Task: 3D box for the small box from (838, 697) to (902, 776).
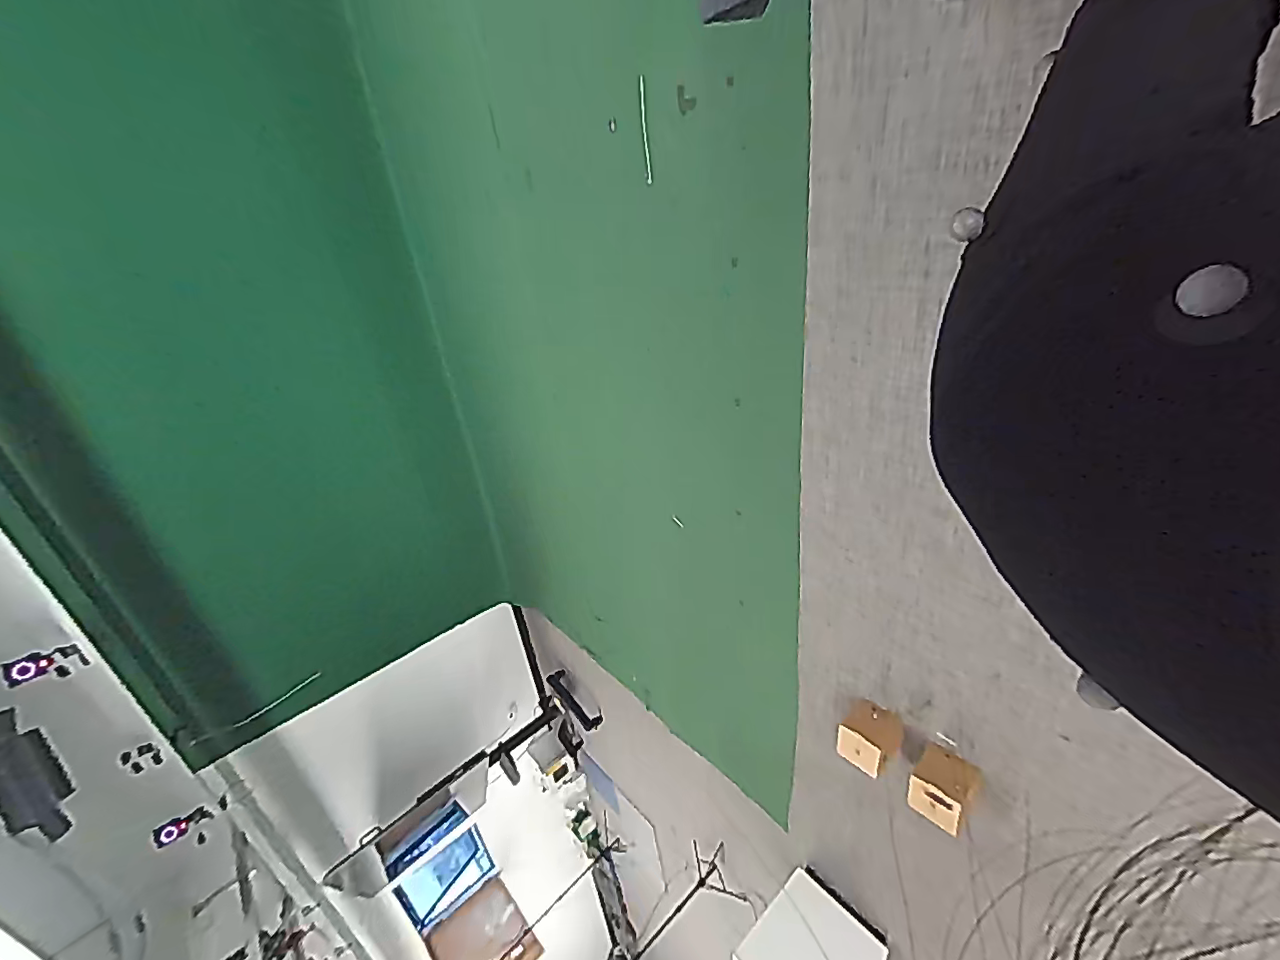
[{"bbox_3d":[0.887,0.981,2.082,0.168,0.176,0.179,24,130,44],"label":"small box"}]
